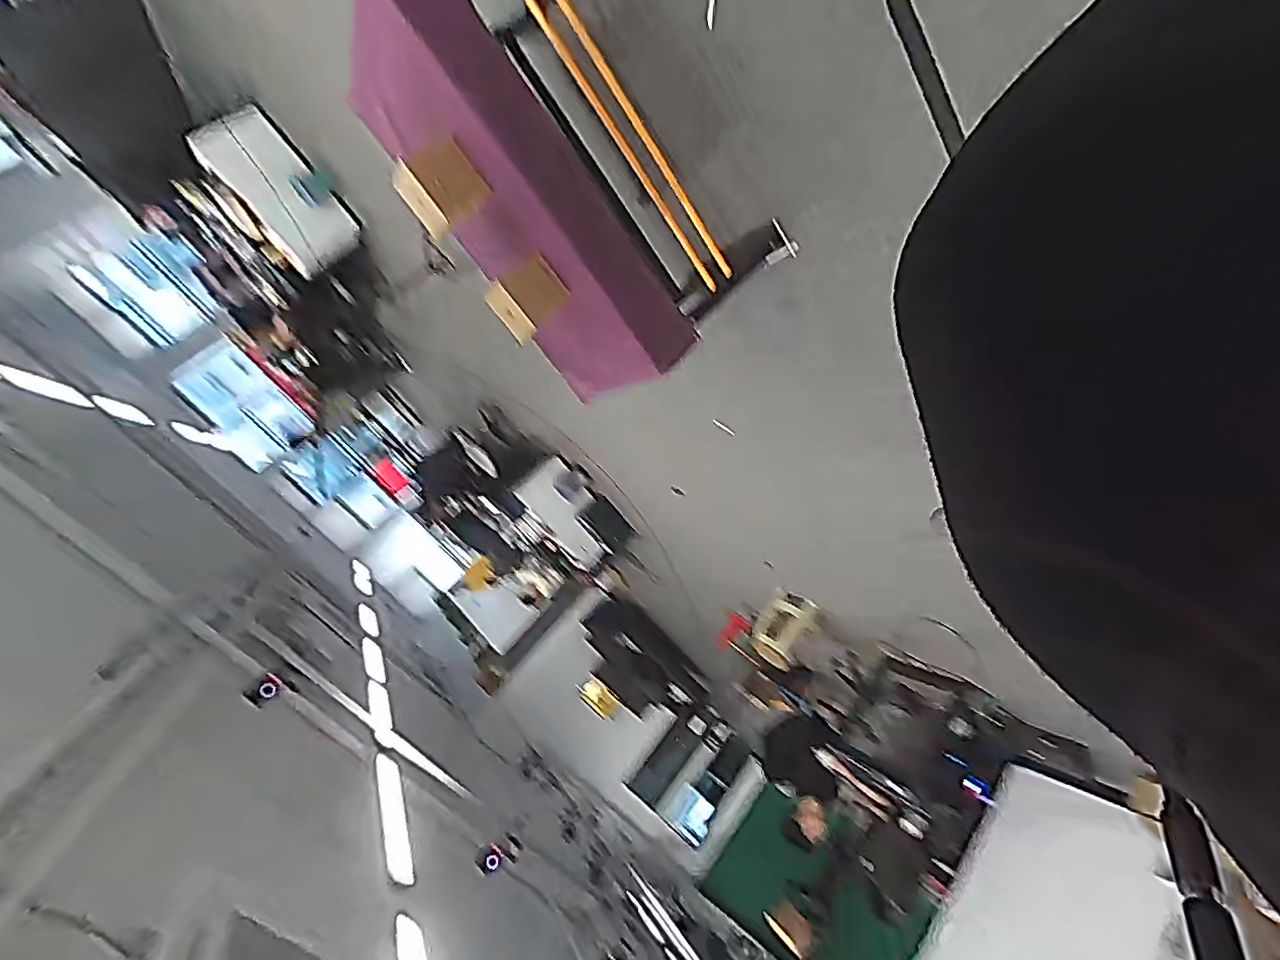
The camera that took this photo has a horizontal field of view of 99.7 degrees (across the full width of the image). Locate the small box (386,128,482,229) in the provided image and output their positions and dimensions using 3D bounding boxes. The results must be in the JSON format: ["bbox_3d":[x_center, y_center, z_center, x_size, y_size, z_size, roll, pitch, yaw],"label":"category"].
[{"bbox_3d":[-0.585,-0.861,1.537,0.179,0.176,0.168,52,158,-23],"label":"small box"}]

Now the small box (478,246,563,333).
[{"bbox_3d":[-0.364,-0.585,1.663,0.168,0.176,0.179,51,159,-19],"label":"small box"}]
